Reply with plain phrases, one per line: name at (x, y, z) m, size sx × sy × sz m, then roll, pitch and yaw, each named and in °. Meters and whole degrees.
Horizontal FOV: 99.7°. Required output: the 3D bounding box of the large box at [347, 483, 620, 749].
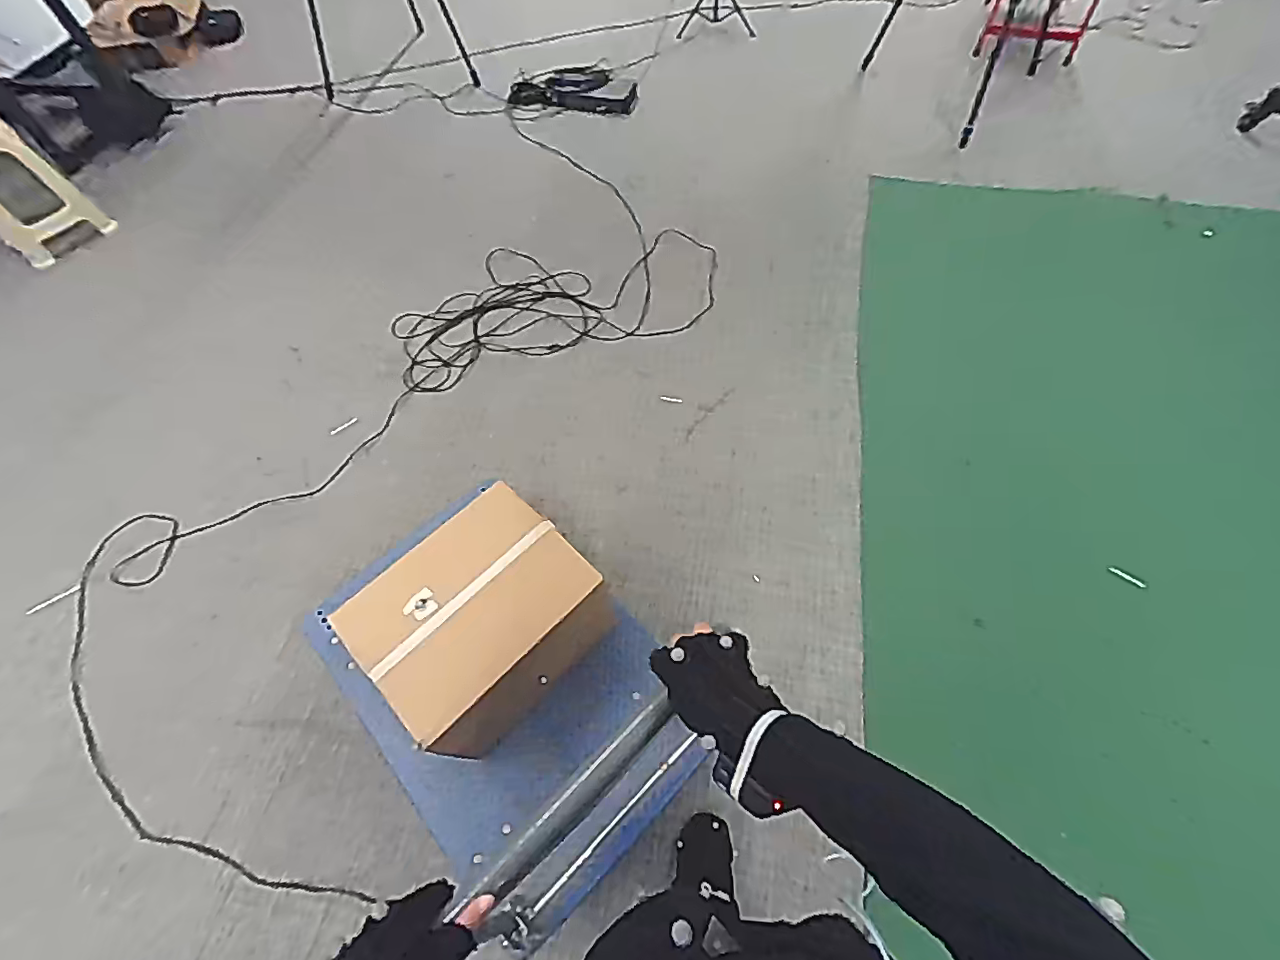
large box at (-0.294, 0.291, 1.139) m, size 0.320 × 0.320 × 0.408 m, roll 39°, pitch 70°, yaw 23°
